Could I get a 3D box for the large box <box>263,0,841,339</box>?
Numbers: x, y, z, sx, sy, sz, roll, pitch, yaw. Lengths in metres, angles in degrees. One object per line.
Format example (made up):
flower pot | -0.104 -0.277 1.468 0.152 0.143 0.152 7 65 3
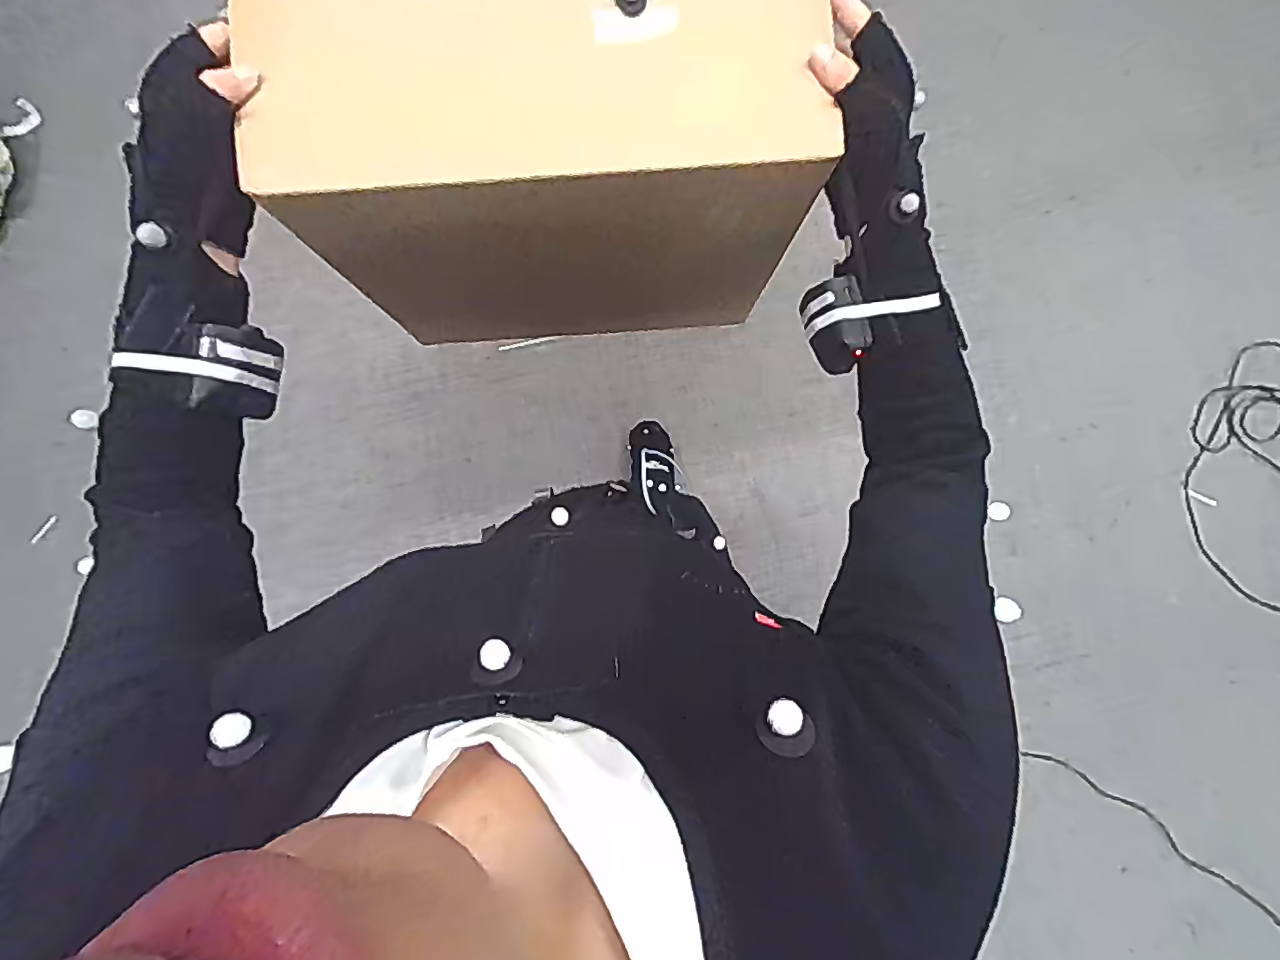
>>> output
large box | -0.074 -0.354 0.536 0.408 0.320 0.320 -5 86 -3
